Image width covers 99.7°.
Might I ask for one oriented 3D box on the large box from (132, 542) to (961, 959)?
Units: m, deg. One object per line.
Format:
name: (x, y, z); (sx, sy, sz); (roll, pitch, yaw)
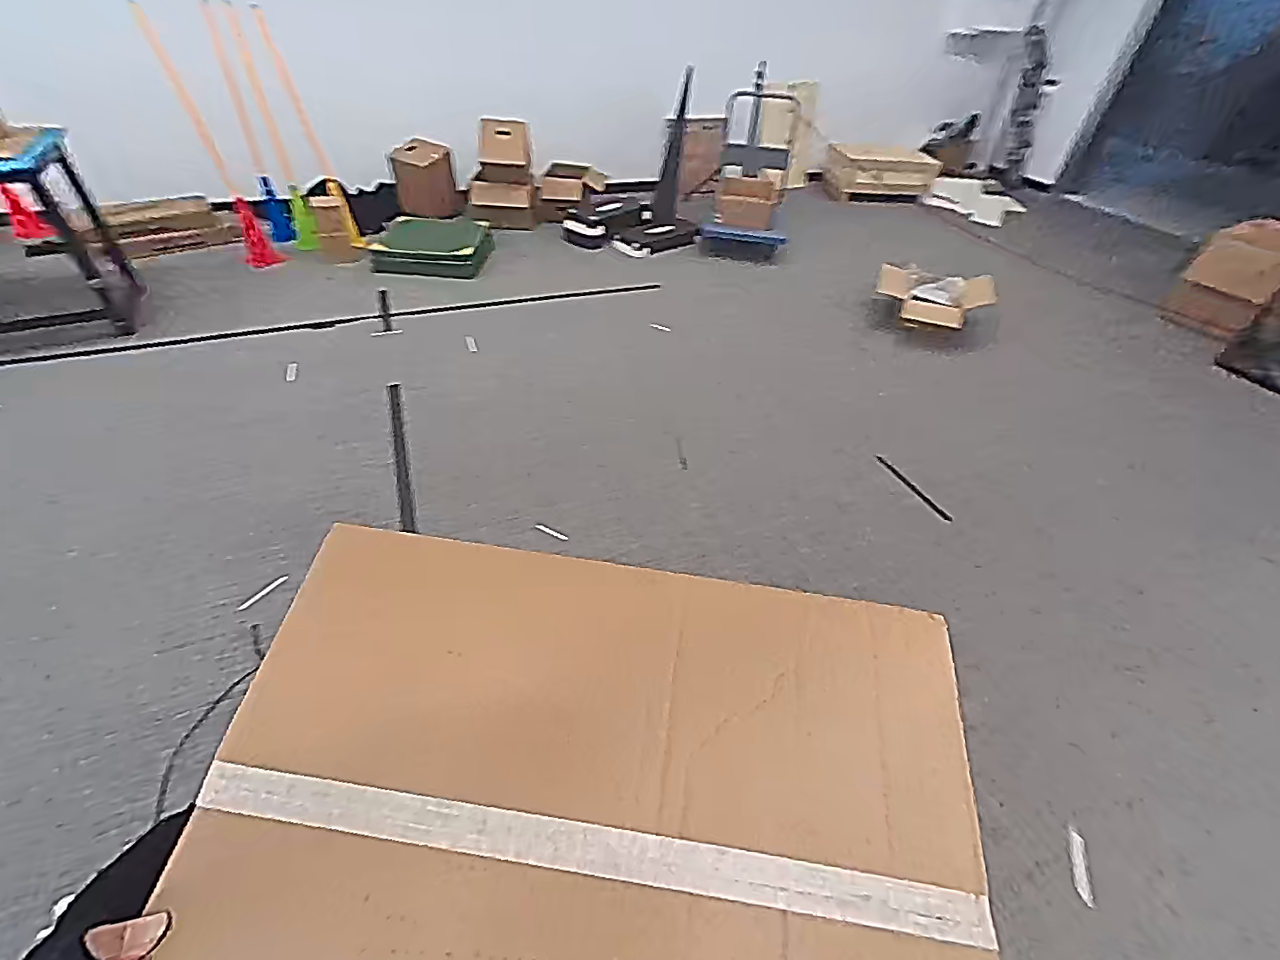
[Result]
large box: (-0.041, 0.270, 0.412); (0.408, 0.320, 0.320); (7, 59, 3)
